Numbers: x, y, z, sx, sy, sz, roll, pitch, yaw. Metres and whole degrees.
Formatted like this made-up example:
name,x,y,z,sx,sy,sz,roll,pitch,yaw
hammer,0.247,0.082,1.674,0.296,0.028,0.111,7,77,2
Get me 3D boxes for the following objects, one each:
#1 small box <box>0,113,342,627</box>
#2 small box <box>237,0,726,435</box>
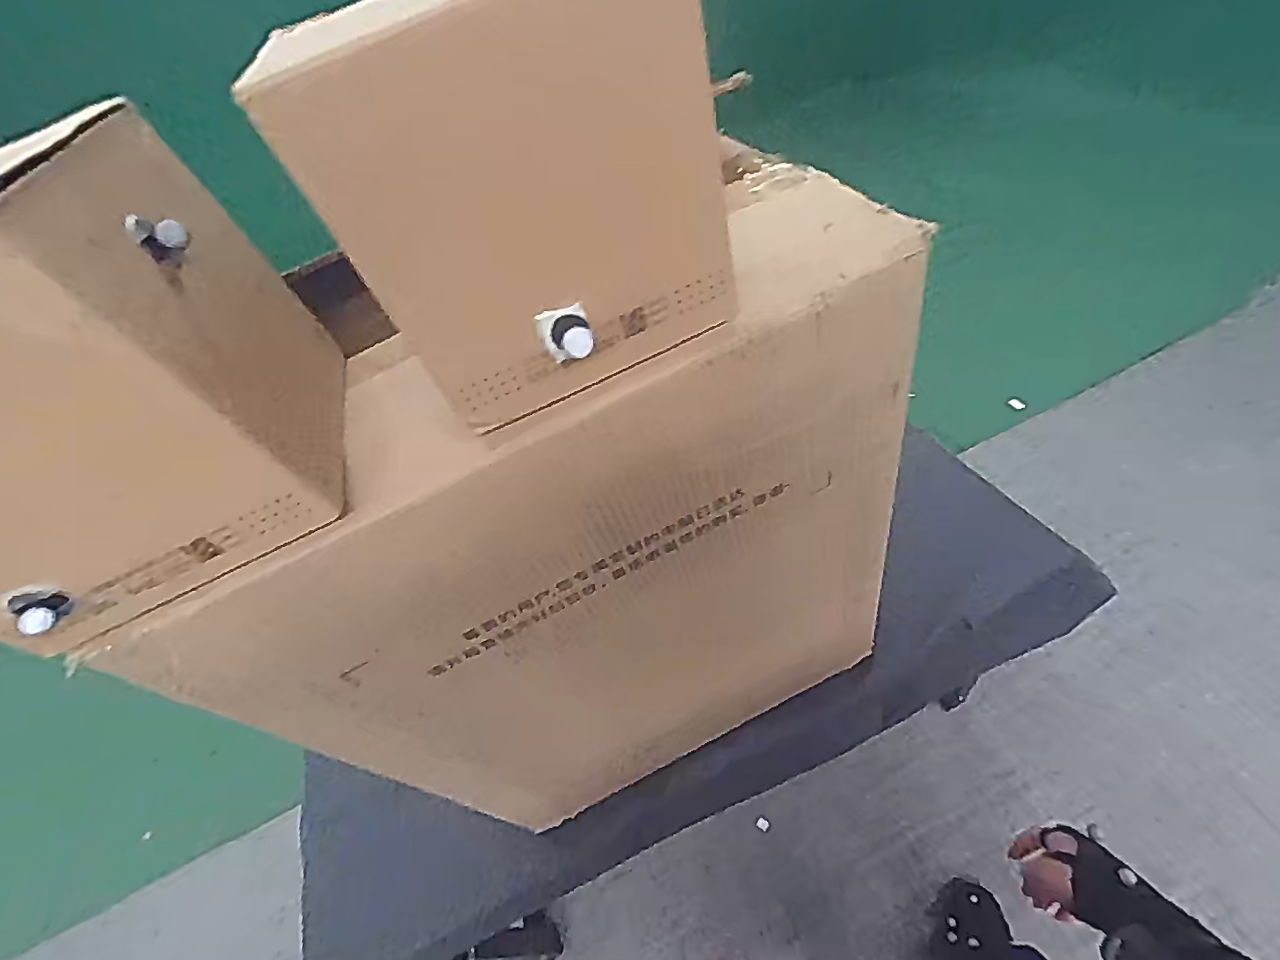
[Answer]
name,x,y,z,sx,sy,sz,roll,pitch,yaw
small box,-0.283,-0.047,0.280,0.168,0.176,0.179,-26,47,-2
small box,-0.070,-0.157,0.298,0.168,0.176,0.179,-27,49,-4
